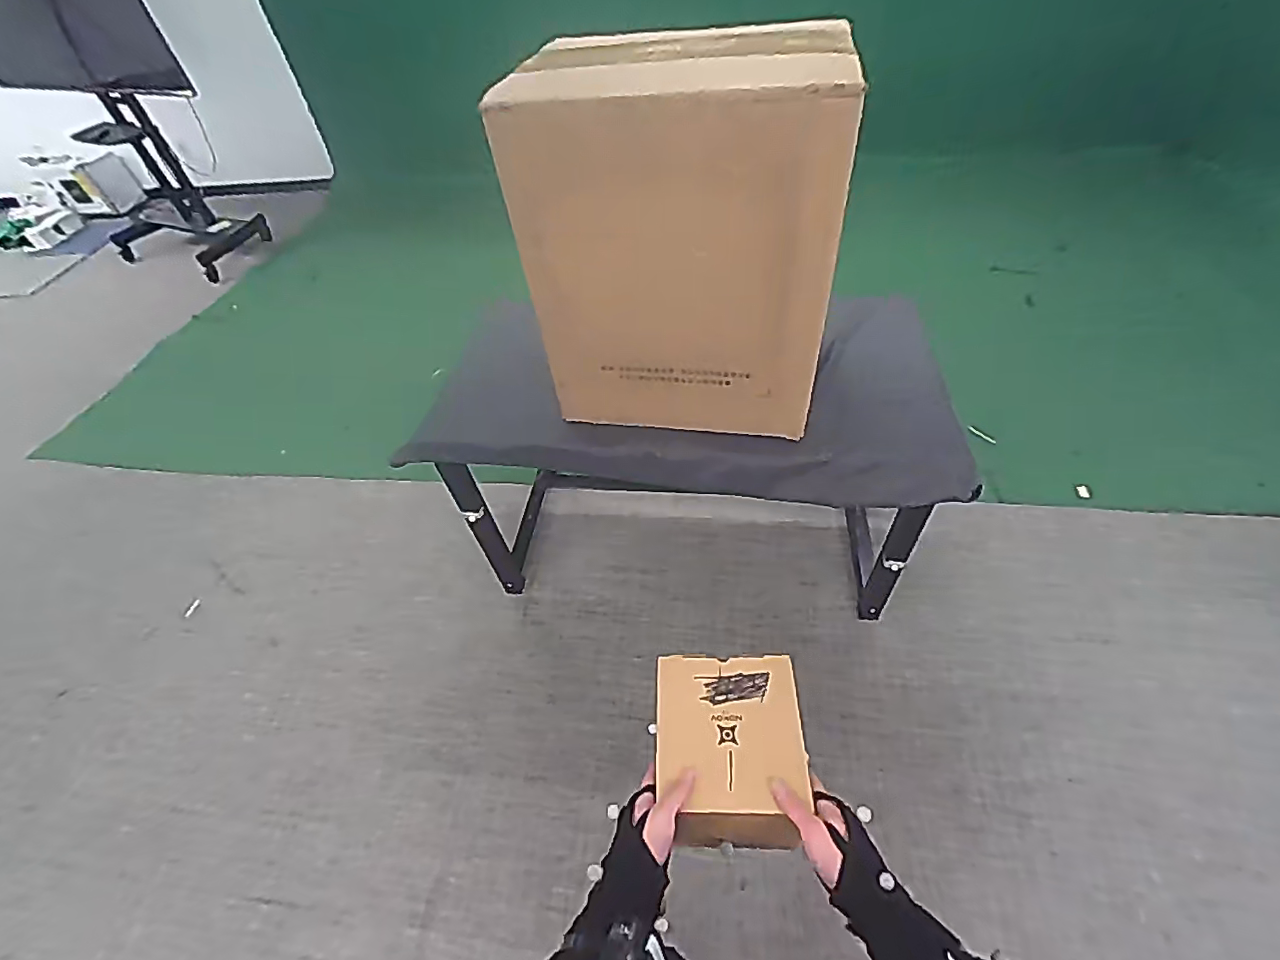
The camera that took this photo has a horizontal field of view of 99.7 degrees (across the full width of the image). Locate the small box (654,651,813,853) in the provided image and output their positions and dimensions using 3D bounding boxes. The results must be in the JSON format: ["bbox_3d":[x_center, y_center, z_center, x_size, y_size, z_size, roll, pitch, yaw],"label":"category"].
[{"bbox_3d":[0.109,0.336,0.670,0.168,0.176,0.179,0,46,7],"label":"small box"}]
